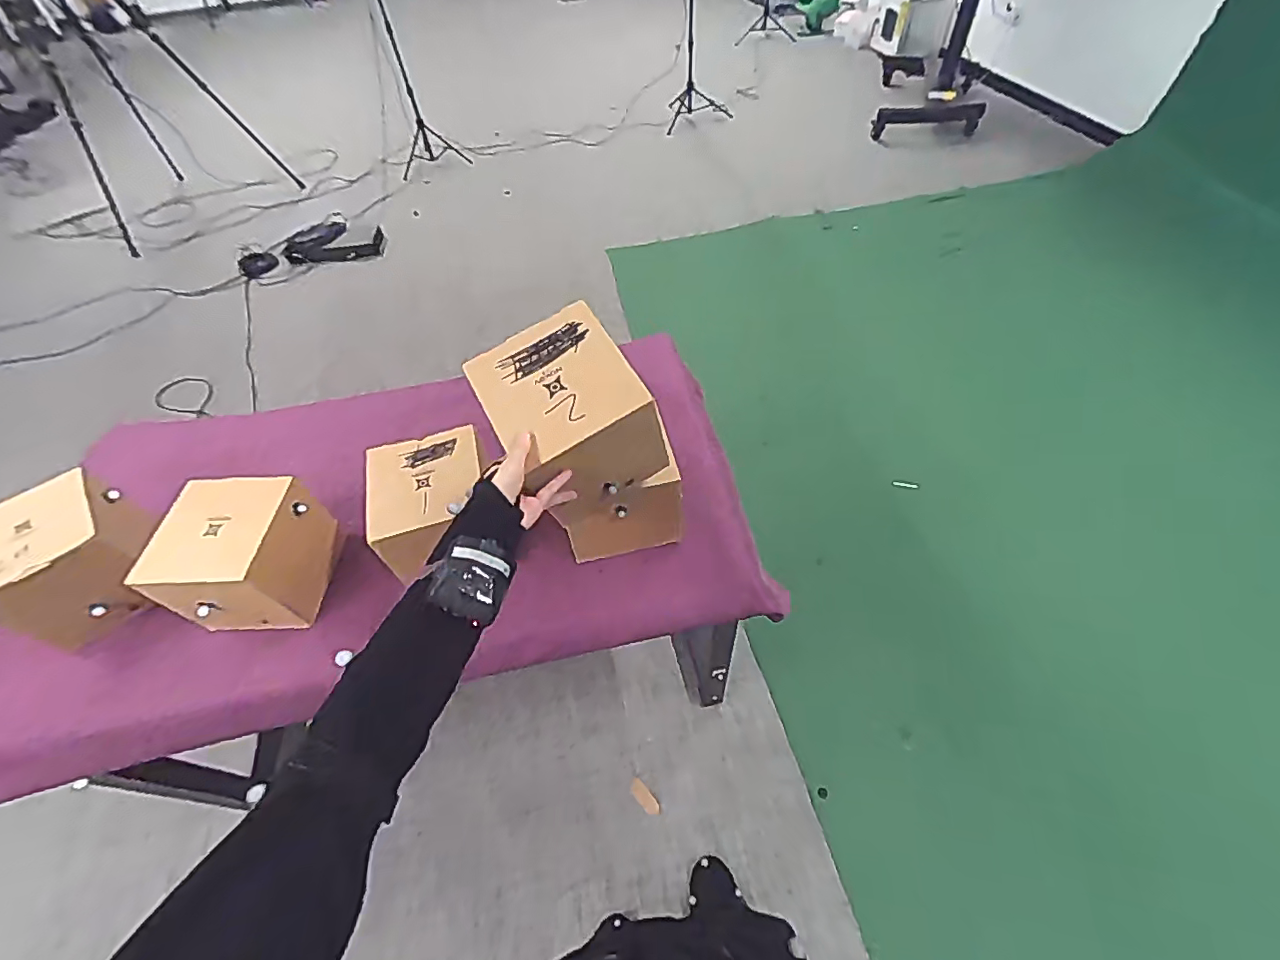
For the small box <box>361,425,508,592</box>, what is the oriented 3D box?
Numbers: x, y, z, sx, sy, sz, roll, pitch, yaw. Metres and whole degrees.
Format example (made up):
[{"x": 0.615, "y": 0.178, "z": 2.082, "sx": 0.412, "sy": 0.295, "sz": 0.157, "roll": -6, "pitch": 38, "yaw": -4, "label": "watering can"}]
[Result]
[{"x": -0.313, "y": 0.046, "z": 0.844, "sx": 0.168, "sy": 0.176, "sz": 0.179, "roll": -15, "pitch": 53, "yaw": -8, "label": "small box"}]

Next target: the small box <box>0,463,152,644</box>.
[{"x": -0.873, "y": 0.114, "z": 0.820, "sx": 0.168, "sy": 0.176, "sz": 0.179, "roll": -35, "pitch": 59, "yaw": -21, "label": "small box"}]

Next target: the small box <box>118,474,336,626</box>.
[{"x": -0.594, "y": 0.111, "z": 0.812, "sx": 0.168, "sy": 0.176, "sz": 0.179, "roll": -2, "pitch": 52, "yaw": 2, "label": "small box"}]

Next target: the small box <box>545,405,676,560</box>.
[{"x": -0.044, "y": 0.009, "z": 0.855, "sx": 0.179, "sy": 0.176, "sz": 0.168, "roll": -10, "pitch": 52, "yaw": -5, "label": "small box"}]
